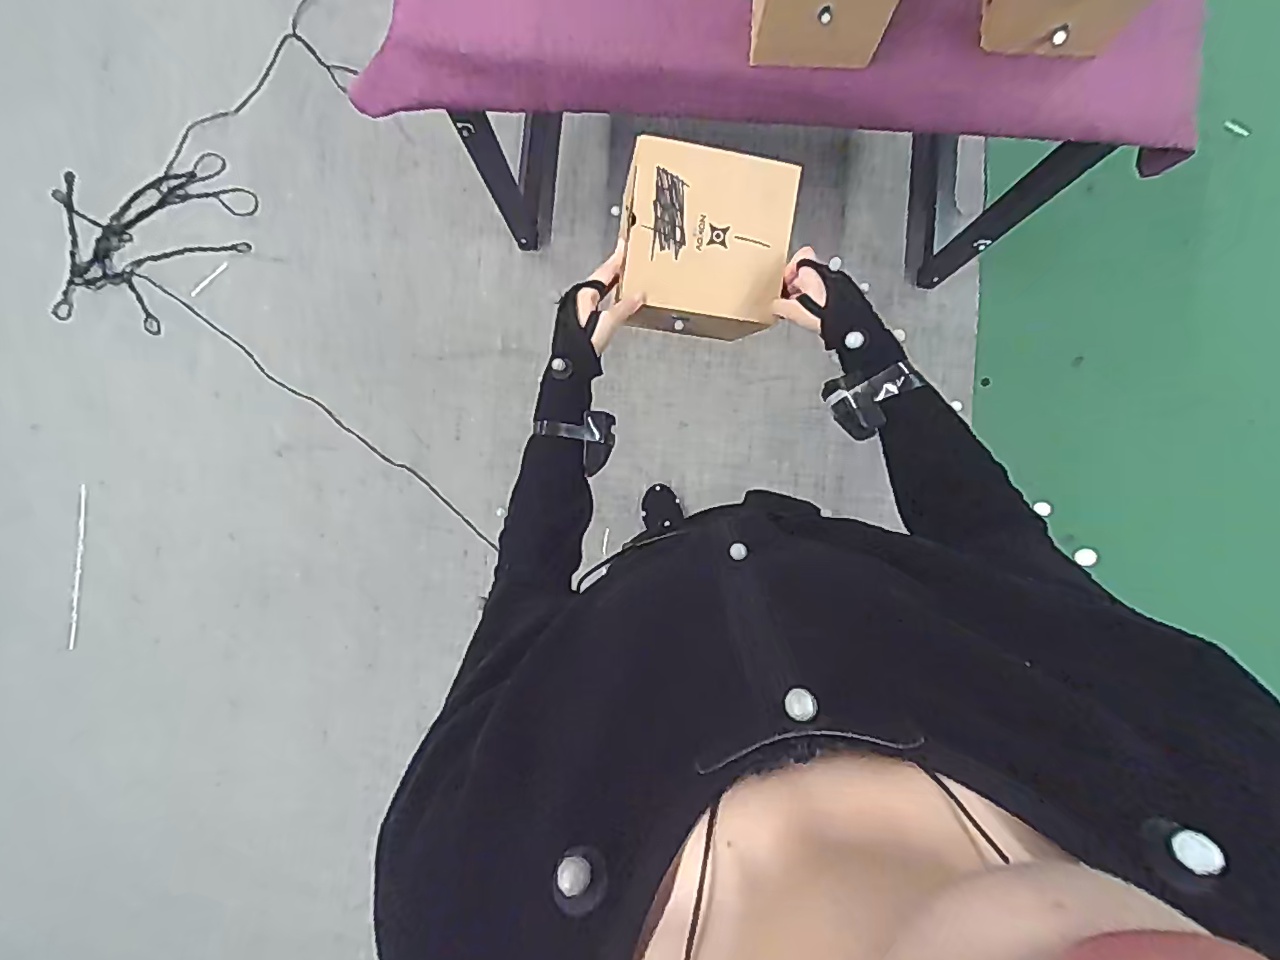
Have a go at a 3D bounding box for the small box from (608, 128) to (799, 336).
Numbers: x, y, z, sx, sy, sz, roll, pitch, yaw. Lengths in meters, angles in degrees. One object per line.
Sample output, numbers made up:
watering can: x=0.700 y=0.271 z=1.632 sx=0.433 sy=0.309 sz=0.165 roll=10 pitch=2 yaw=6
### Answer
small box: x=0.059 y=-0.270 z=0.633 sx=0.179 sy=0.176 sz=0.168 roll=7 pitch=98 yaw=-8

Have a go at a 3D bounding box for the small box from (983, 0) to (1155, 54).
small box: x=0.596 y=-0.708 z=0.715 sx=0.179 sy=0.176 sz=0.168 roll=5 pitch=86 yaw=3
